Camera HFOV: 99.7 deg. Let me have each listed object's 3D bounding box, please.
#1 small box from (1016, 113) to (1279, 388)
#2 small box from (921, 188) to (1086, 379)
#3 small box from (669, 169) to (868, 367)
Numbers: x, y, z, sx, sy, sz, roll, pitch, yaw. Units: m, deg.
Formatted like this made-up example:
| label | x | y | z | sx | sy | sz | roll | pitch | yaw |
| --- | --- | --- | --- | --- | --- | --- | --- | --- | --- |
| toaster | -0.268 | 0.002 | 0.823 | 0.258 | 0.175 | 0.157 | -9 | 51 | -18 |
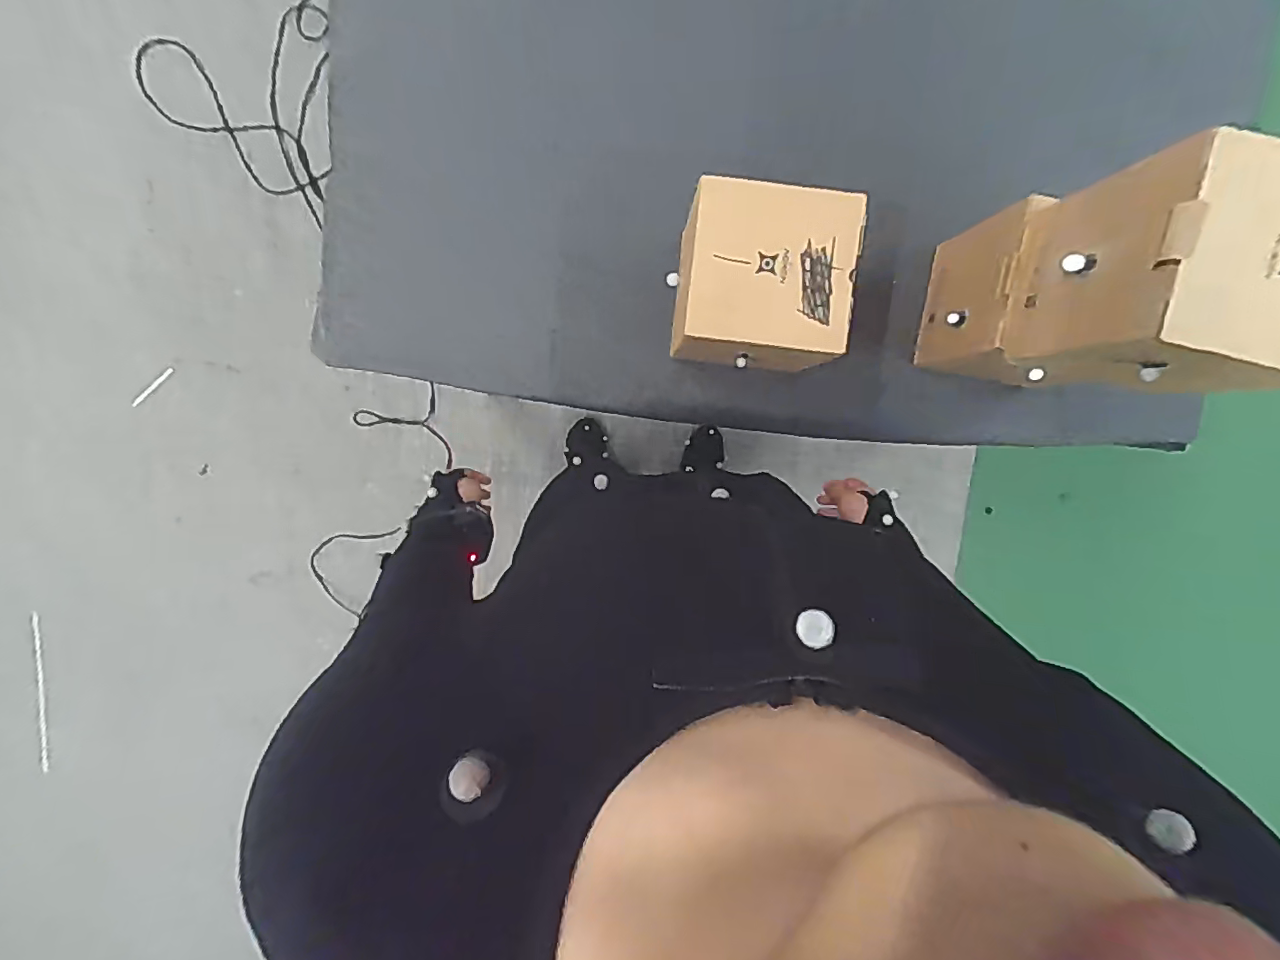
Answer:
| label | x | y | z | sx | sy | sz | roll | pitch | yaw |
| --- | --- | --- | --- | --- | --- | --- | --- | --- | --- |
| small box | 0.490 | -0.181 | 0.486 | 0.179 | 0.176 | 0.168 | 12 | 96 | -3 |
| small box | 0.473 | -0.217 | 0.646 | 0.179 | 0.176 | 0.168 | 8 | 96 | -4 |
| small box | 0.134 | -0.229 | 0.629 | 0.179 | 0.176 | 0.168 | 6 | 95 | -2 |
